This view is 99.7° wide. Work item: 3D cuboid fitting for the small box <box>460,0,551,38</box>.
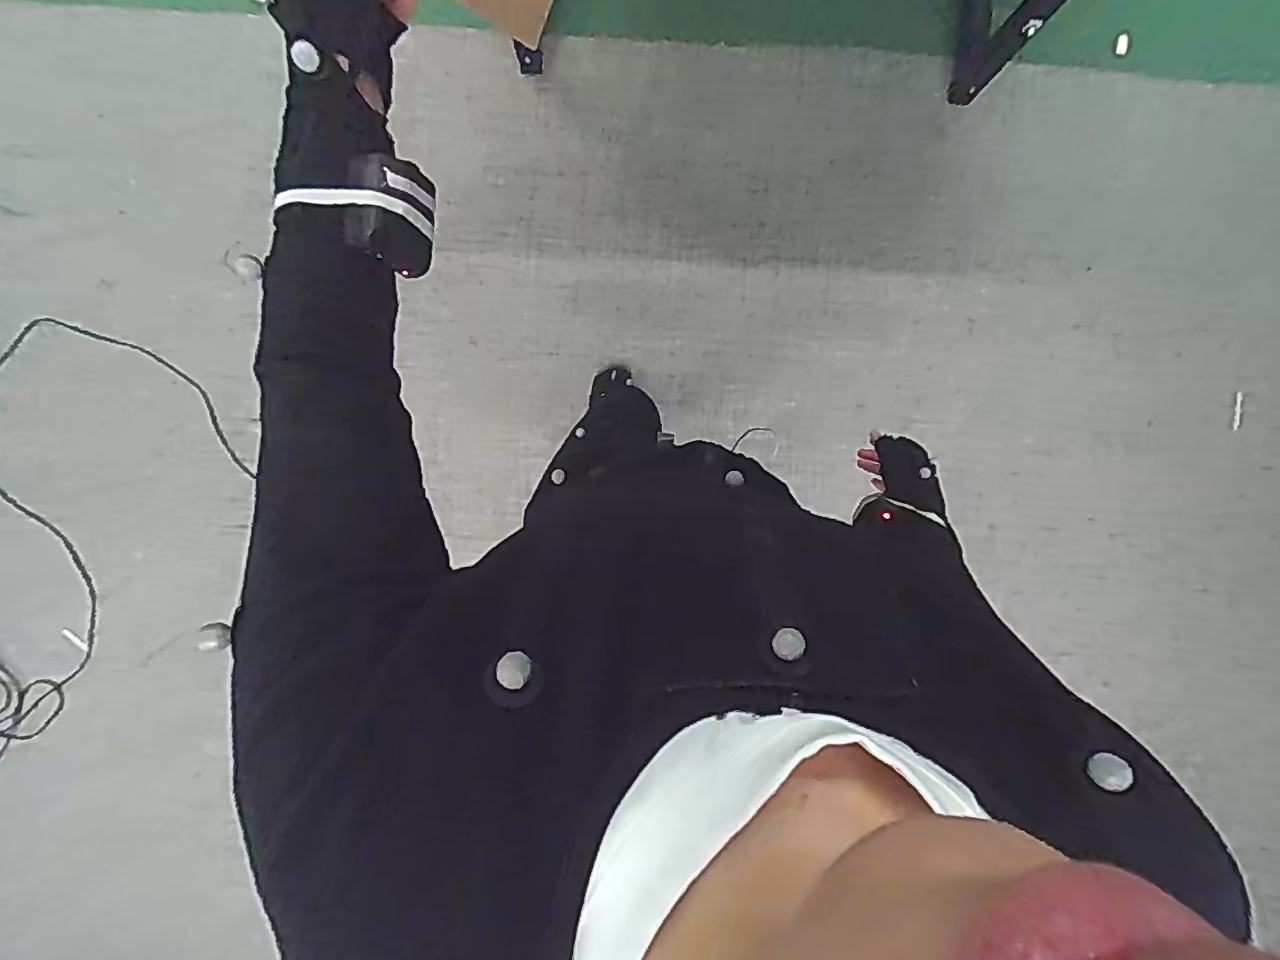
[{"bbox_3d":[-0.137,-0.472,0.391,0.168,0.176,0.179,30,119,-8],"label":"small box"}]
